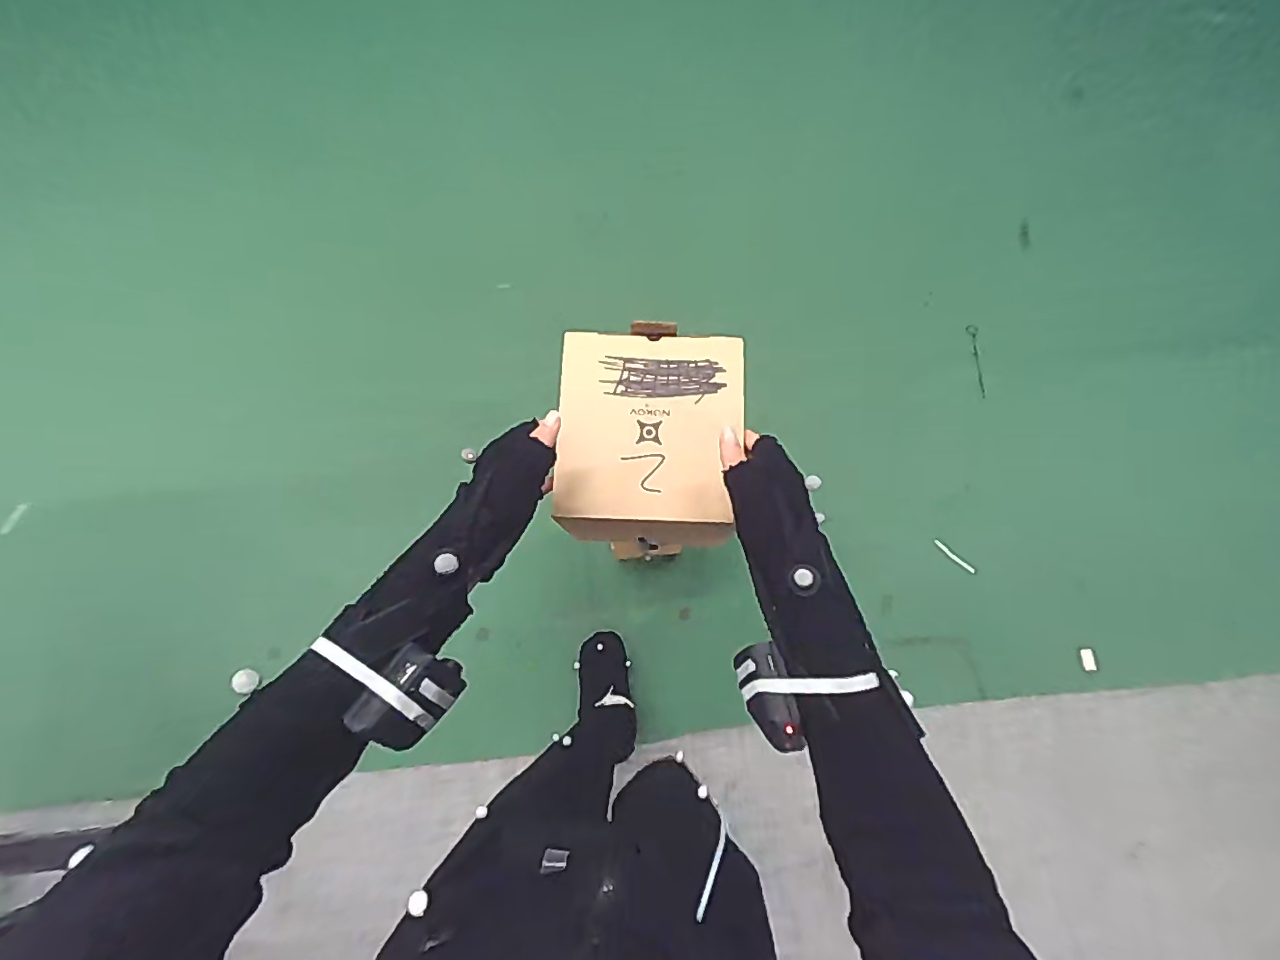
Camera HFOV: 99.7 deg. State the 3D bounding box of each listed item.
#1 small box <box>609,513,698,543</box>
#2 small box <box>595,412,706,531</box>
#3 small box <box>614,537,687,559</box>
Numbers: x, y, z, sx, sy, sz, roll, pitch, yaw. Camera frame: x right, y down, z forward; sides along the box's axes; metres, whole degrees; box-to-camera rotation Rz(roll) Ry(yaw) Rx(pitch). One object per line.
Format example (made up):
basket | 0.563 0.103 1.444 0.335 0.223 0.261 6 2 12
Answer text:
small box | 0.022 0.036 1.143 0.179 0.176 0.168 -3 72 -1
small box | 0.017 -0.009 0.989 0.179 0.176 0.168 -6 74 -2
small box | 0.016 0.087 1.301 0.168 0.176 0.179 -6 74 -1
